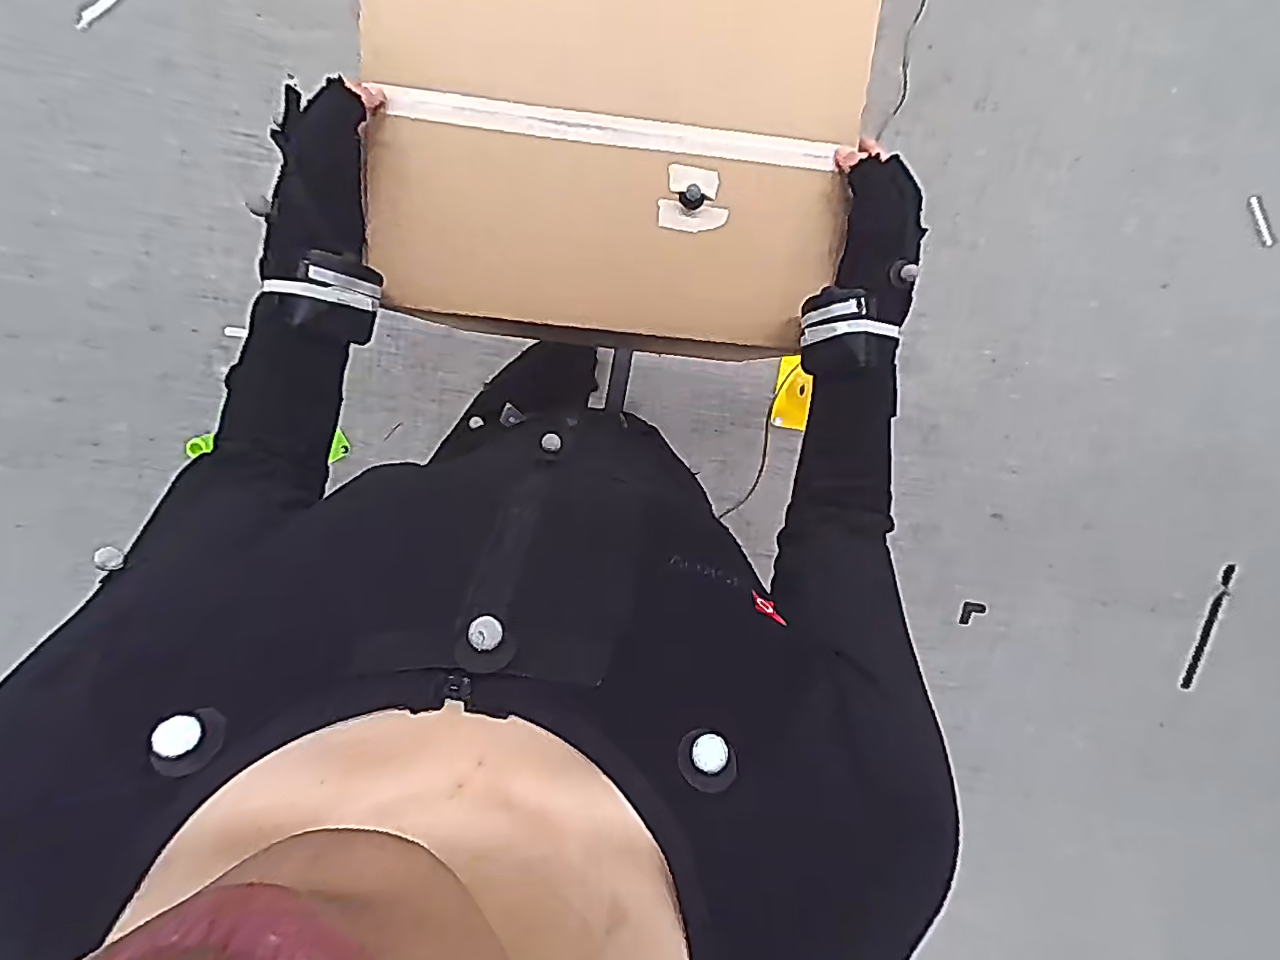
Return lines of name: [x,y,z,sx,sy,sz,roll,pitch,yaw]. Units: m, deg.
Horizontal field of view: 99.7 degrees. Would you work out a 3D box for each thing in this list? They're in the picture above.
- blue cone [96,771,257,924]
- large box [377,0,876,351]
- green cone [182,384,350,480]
blue cone: [-1.216,0.970,1.414,0.192,0.380,0.193,12,98,-3]
large box: [-0.025,-0.322,0.594,0.408,0.320,0.320,5,101,-5]
green cone: [-0.879,-0.096,1.236,0.202,0.368,0.200,-28,99,4]
